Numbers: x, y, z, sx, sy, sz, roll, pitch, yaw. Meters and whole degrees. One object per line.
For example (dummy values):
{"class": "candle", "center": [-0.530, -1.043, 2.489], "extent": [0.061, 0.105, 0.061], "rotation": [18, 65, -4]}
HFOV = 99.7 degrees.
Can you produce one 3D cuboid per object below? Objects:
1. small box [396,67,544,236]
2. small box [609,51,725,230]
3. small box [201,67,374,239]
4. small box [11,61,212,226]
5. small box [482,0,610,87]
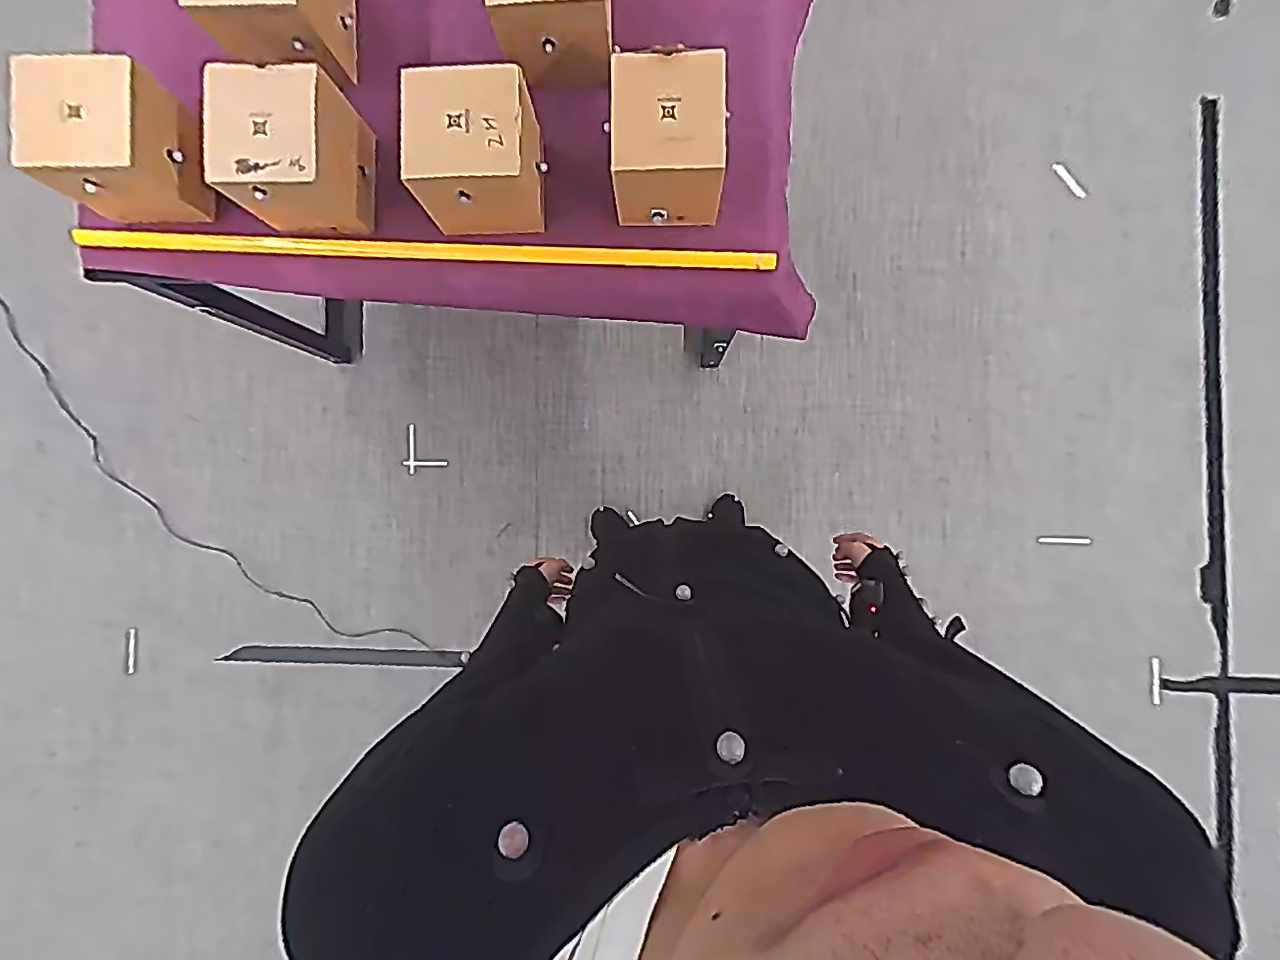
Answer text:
{"class": "small box", "center": [-0.257, -0.502, 0.849], "extent": [0.179, 0.176, 0.168], "rotation": [0, 88, 2]}
{"class": "small box", "center": [0.041, -0.516, 0.841], "extent": [0.168, 0.176, 0.179], "rotation": [0, 87, 3]}
{"class": "small box", "center": [-0.544, -0.507, 0.857], "extent": [0.168, 0.176, 0.179], "rotation": [1, 89, 3]}
{"class": "small box", "center": [-0.824, -0.525, 0.864], "extent": [0.179, 0.176, 0.168], "rotation": [-1, 89, 0]}
{"class": "small box", "center": [-0.139, -0.758, 0.851], "extent": [0.179, 0.176, 0.168], "rotation": [-2, 90, 2]}
